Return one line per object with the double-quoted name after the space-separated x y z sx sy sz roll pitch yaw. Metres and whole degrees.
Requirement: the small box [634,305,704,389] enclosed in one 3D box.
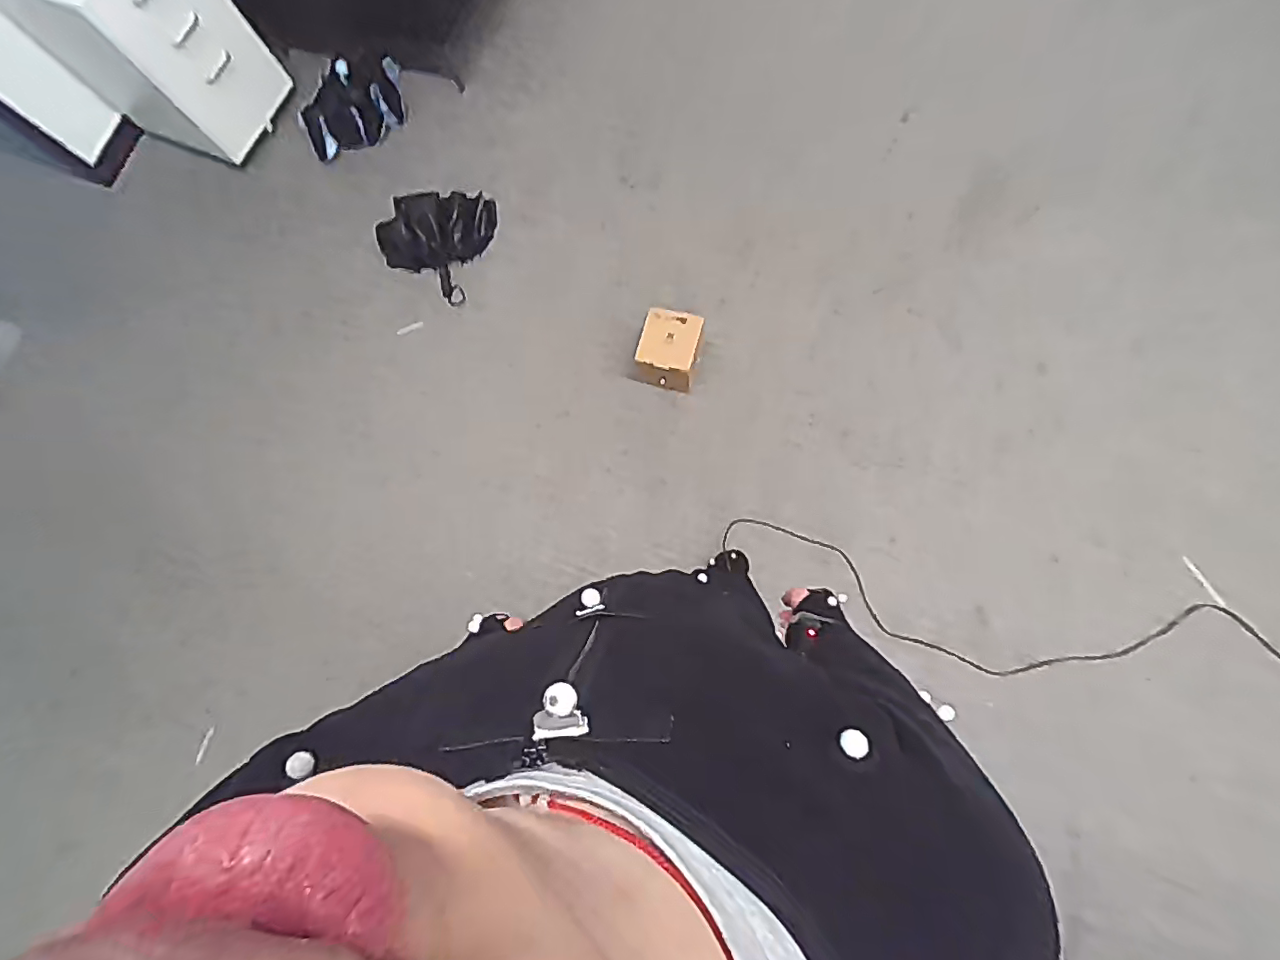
0.094 -0.393 1.628 0.168 0.176 0.179 15 81 10 "small box"
